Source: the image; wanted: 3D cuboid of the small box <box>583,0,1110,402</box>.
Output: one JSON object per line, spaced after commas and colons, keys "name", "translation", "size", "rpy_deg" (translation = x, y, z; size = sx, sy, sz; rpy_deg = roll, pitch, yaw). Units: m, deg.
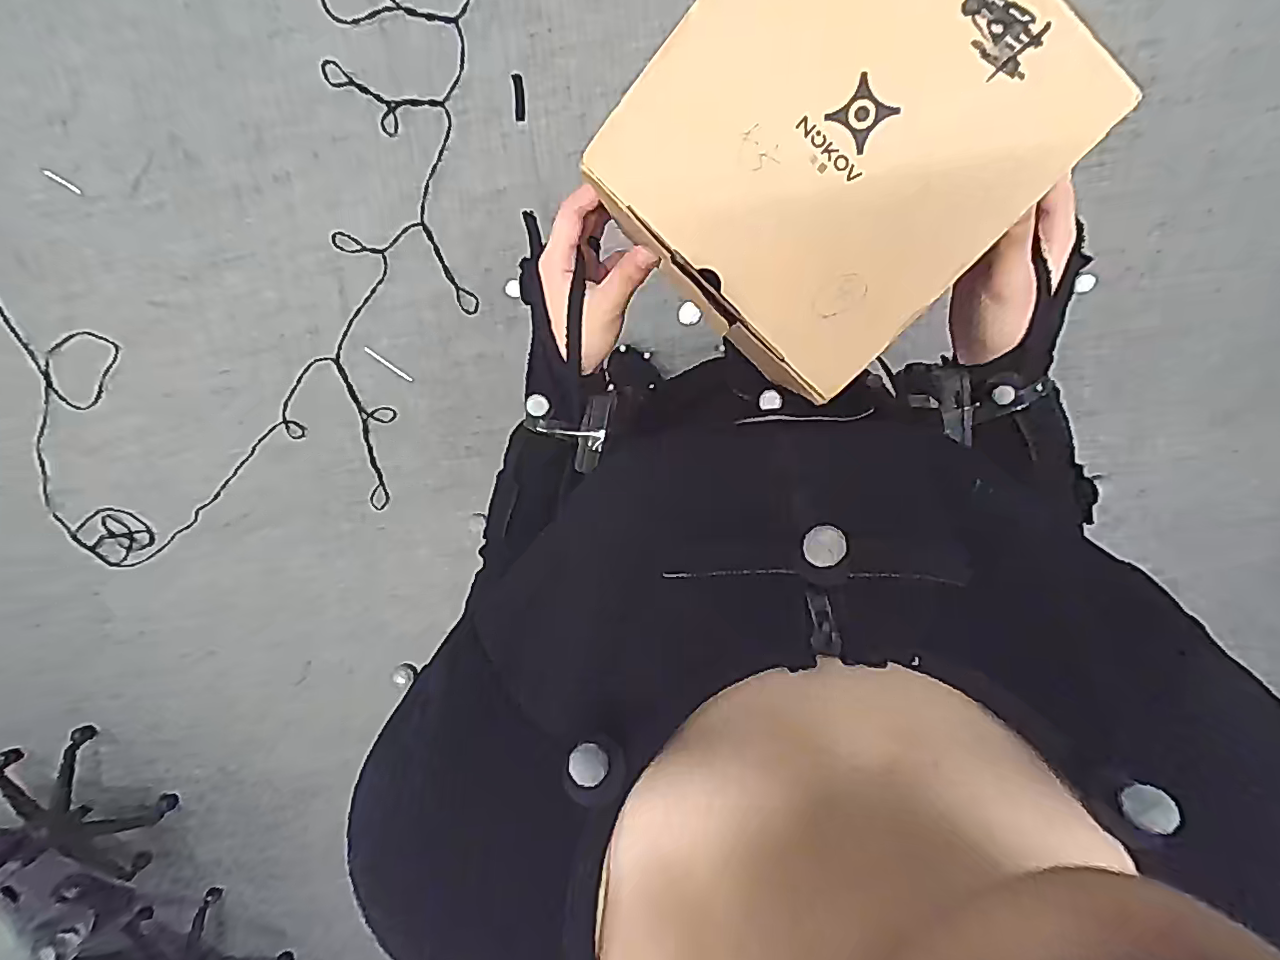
{"name": "small box", "translation": [0.097, -0.171, 0.323], "size": [0.168, 0.176, 0.179], "rpy_deg": [42, 106, -5]}
